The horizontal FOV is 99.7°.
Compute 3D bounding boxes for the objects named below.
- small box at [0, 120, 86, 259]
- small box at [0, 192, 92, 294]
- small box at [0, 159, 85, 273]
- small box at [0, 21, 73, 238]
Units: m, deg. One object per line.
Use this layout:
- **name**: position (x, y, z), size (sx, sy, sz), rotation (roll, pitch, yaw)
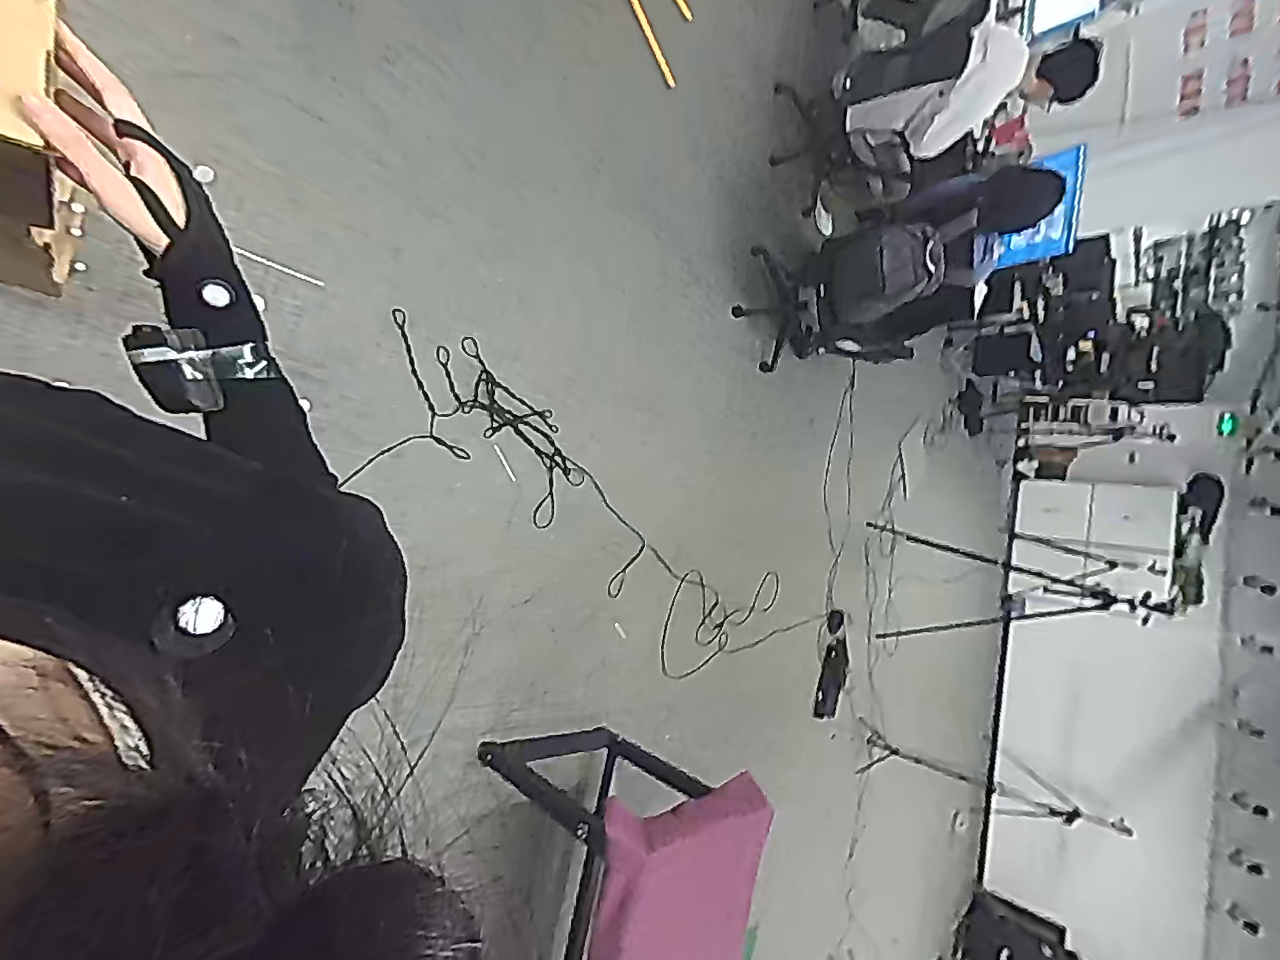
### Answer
- **small box**: position (-0.855, -0.405, 0.693), size (0.179, 0.176, 0.168), rotation (14, 84, -46)
- **small box**: position (-1.083, -0.438, 0.926), size (0.179, 0.176, 0.168), rotation (16, 82, -46)
- **small box**: position (-0.972, -0.431, 0.805), size (0.179, 0.176, 0.168), rotation (17, 83, -46)
- **small box**: position (-0.742, -0.392, 0.576), size (0.168, 0.176, 0.179), rotation (13, 86, -45)
